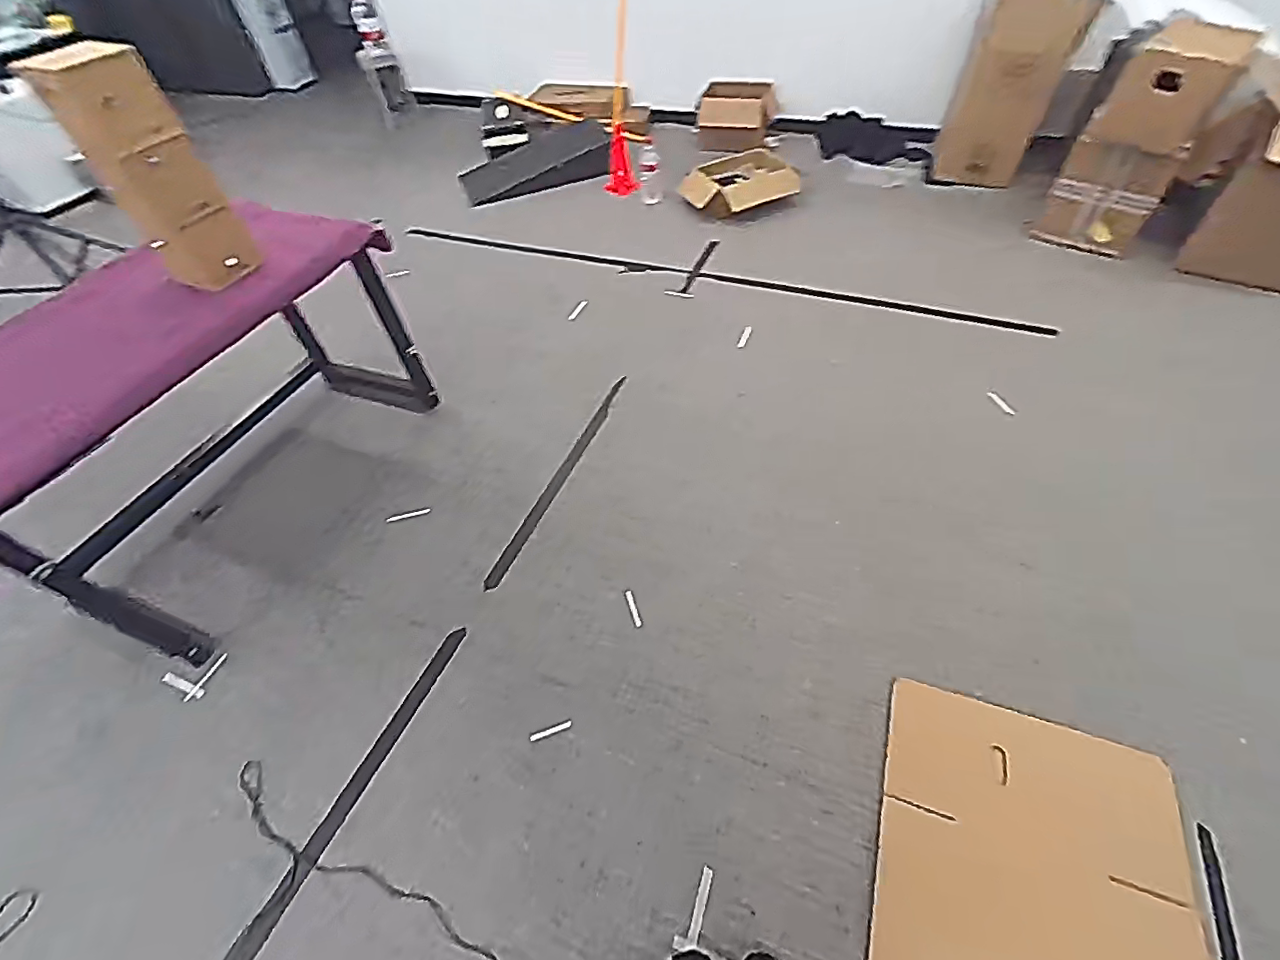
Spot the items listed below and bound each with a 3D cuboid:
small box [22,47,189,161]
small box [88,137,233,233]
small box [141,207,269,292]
[{"bbox_3d":[-1.182,-0.837,1.212,0.179,0.176,0.168,20,56,20],"label":"small box"},{"bbox_3d":[-1.177,-0.736,1.341,0.179,0.176,0.168,20,56,21],"label":"small box"},{"bbox_3d":[-1.171,-0.635,1.469,0.179,0.176,0.168,19,56,18],"label":"small box"}]
